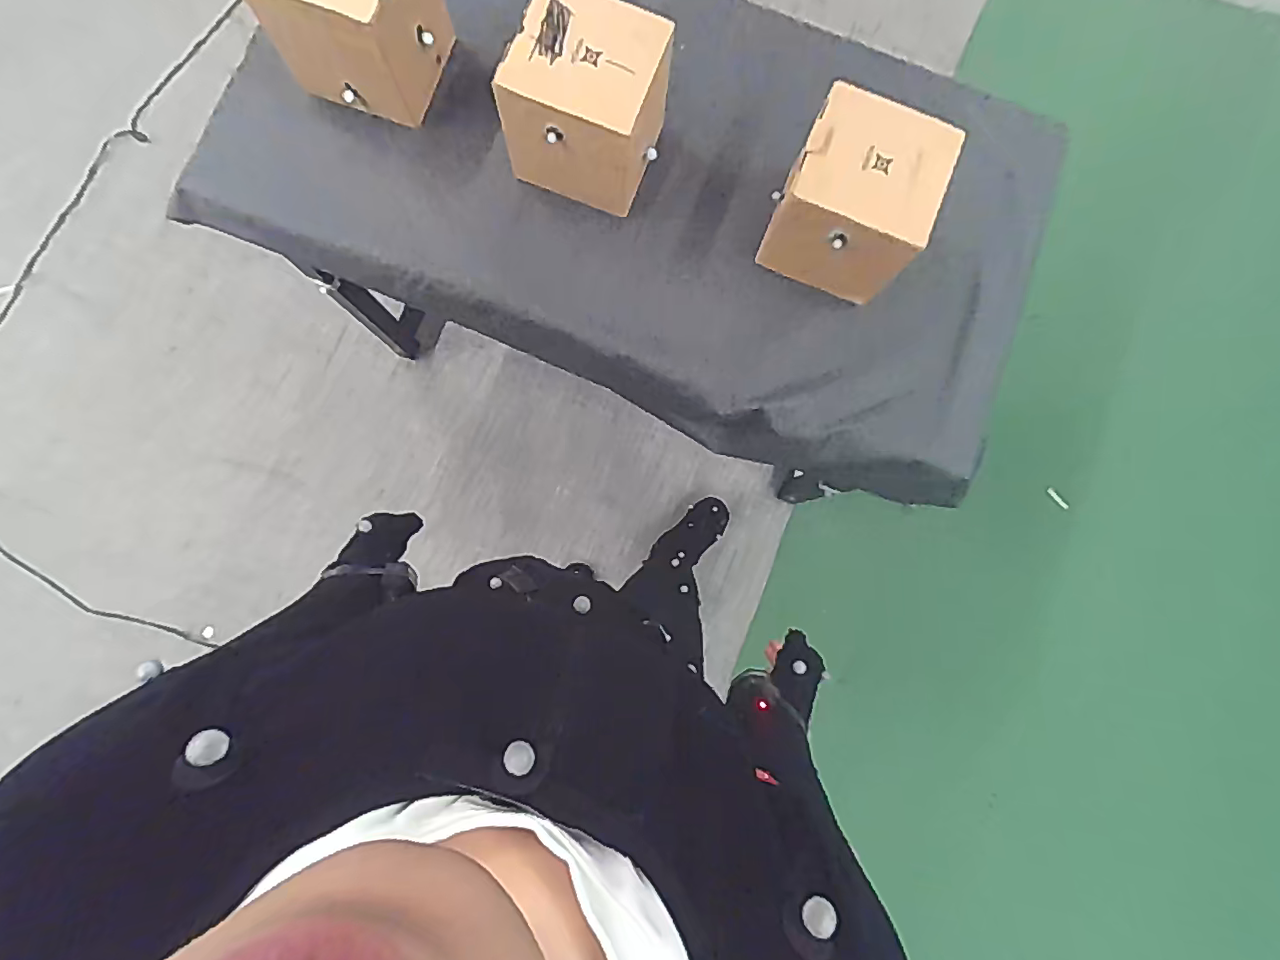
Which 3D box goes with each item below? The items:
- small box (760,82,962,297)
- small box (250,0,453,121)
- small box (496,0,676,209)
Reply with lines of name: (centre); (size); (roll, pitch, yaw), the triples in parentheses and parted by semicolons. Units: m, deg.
small box: (0.284, -0.377, 0.736); (0.179, 0.176, 0.168); (22, 84, -1)
small box: (-0.376, -0.633, 0.730); (0.179, 0.176, 0.168); (18, 83, -1)
small box: (-0.068, -0.505, 0.731); (0.179, 0.176, 0.168); (20, 83, -1)
